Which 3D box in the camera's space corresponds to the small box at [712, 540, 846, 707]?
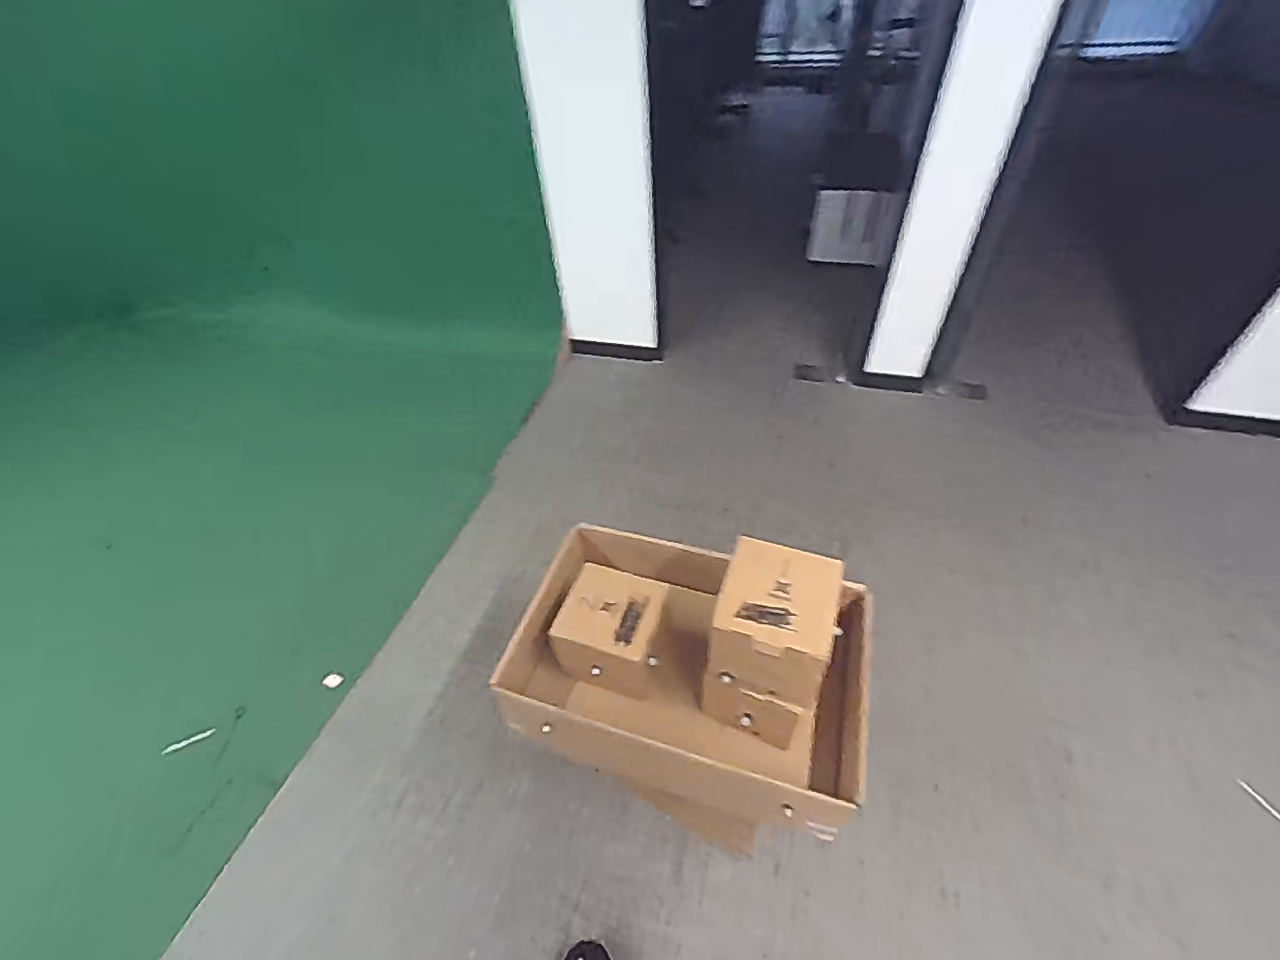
[{"bbox_3d":[0.217,0.229,0.861,0.168,0.176,0.179,14,47,17],"label":"small box"}]
